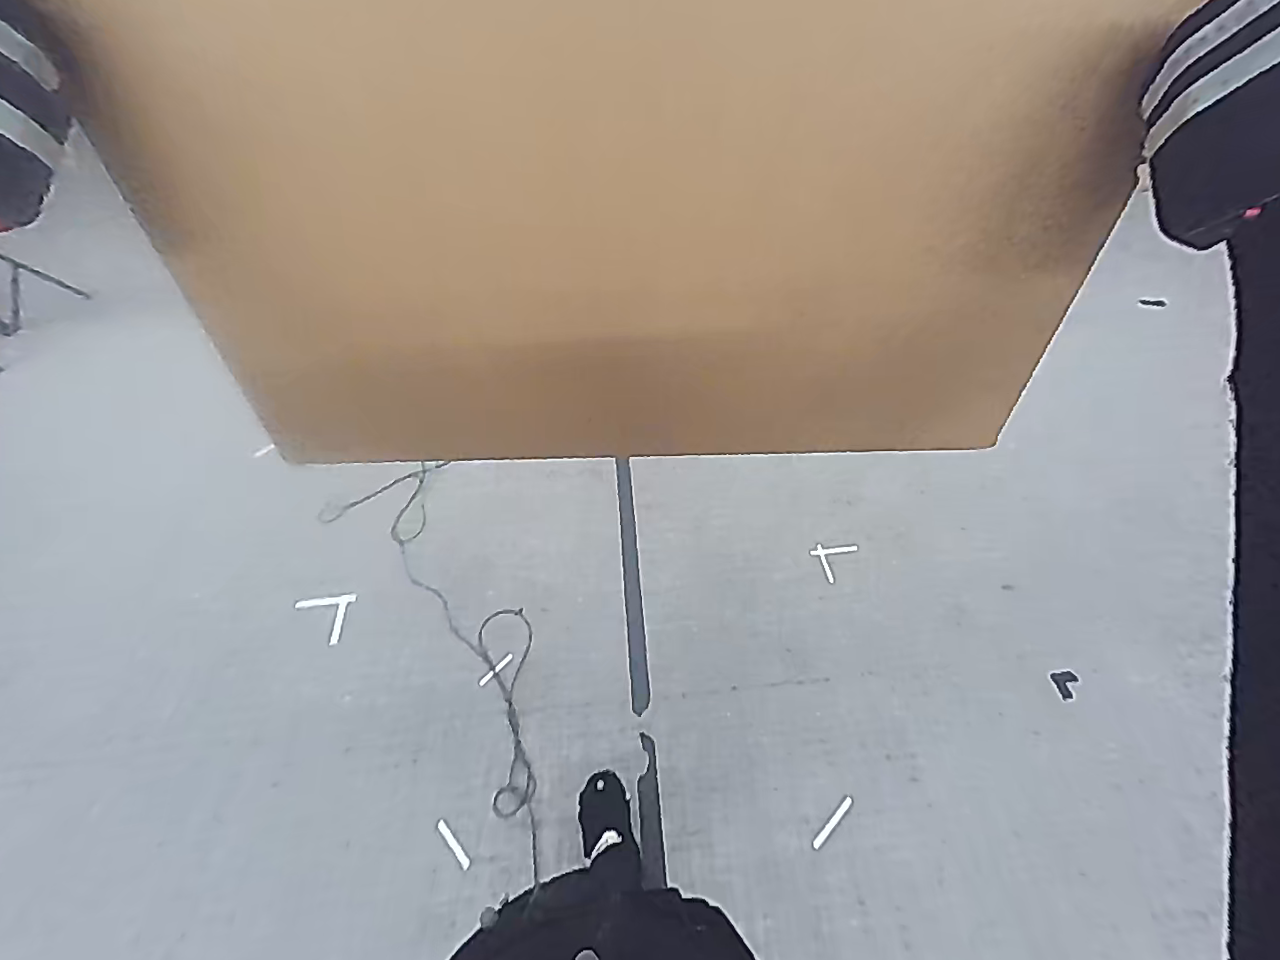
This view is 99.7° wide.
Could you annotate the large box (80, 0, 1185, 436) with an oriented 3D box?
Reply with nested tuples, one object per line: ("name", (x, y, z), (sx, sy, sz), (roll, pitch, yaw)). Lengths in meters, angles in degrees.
("large box", (-0.003, -0.238, 0.327), (0.408, 0.320, 0.320), (-1, 43, -1))
